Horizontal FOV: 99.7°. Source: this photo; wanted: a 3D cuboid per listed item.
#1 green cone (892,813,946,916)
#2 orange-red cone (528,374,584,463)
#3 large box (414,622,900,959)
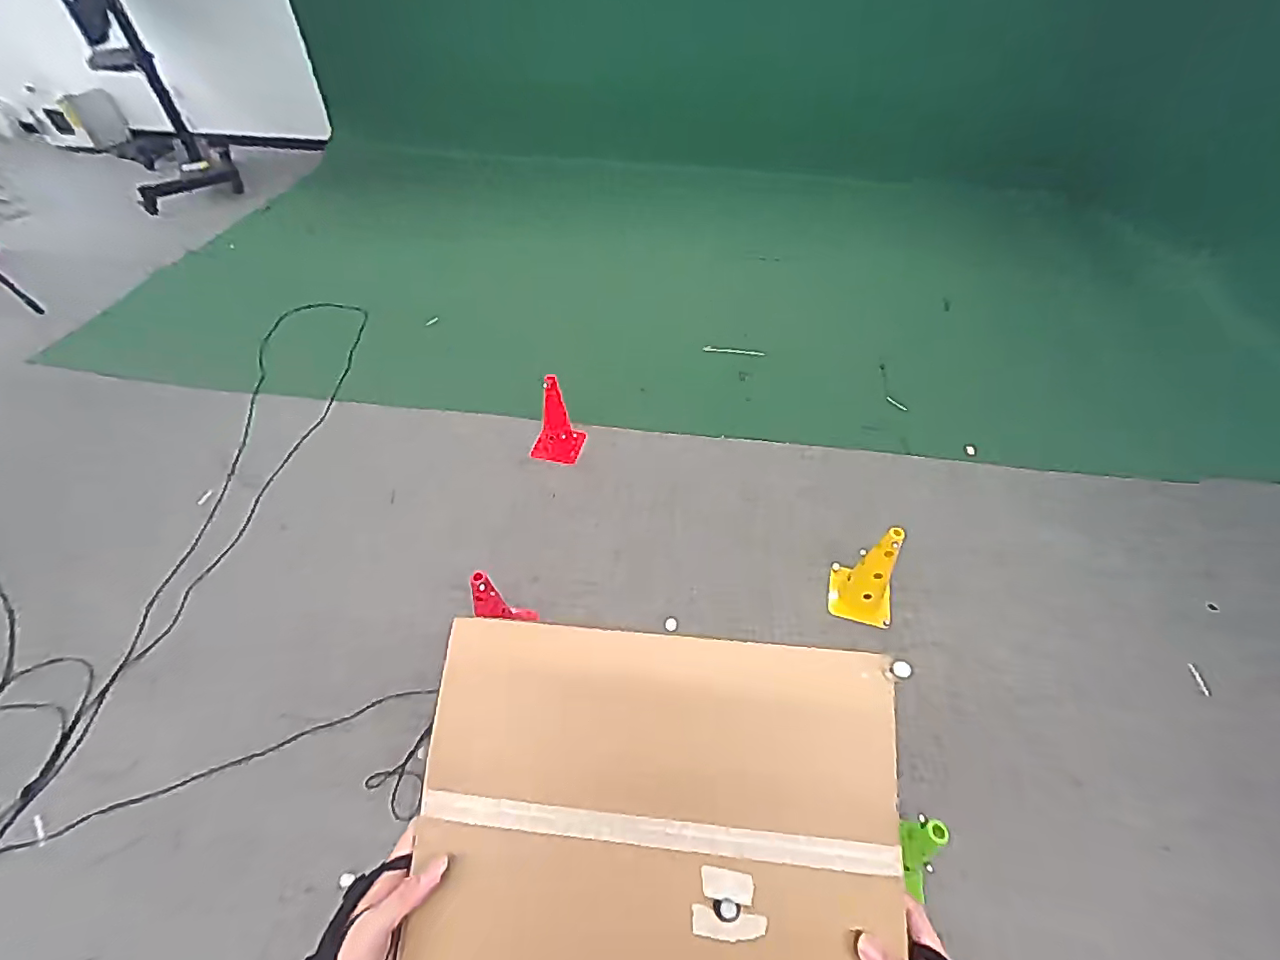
[{"bbox_3d":[0.597,0.822,1.218,0.200,0.368,0.202,11,47,7],"label":"green cone"},{"bbox_3d":[-0.352,-0.267,2.158,0.199,0.360,0.198,11,48,10],"label":"orange-red cone"},{"bbox_3d":[0.025,0.337,0.611,0.408,0.320,0.320,3,74,5],"label":"large box"}]
